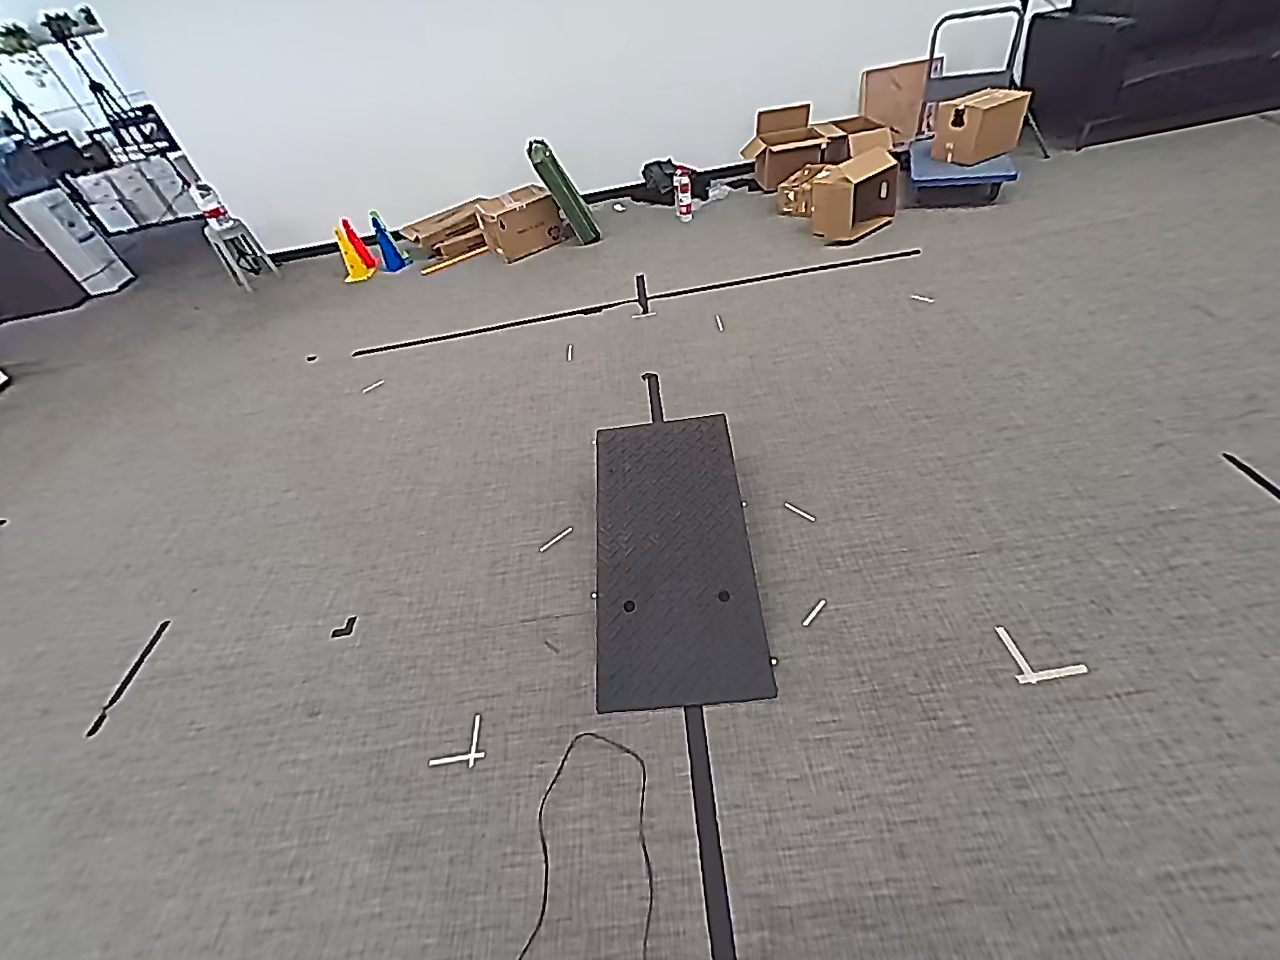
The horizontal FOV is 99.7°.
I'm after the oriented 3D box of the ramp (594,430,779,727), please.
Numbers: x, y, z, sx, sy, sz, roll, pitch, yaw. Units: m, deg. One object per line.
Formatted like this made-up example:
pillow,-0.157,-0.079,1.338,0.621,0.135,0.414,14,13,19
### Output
ramp,0.102,0.245,1.755,0.509,0.206,0.991,-9,43,3
